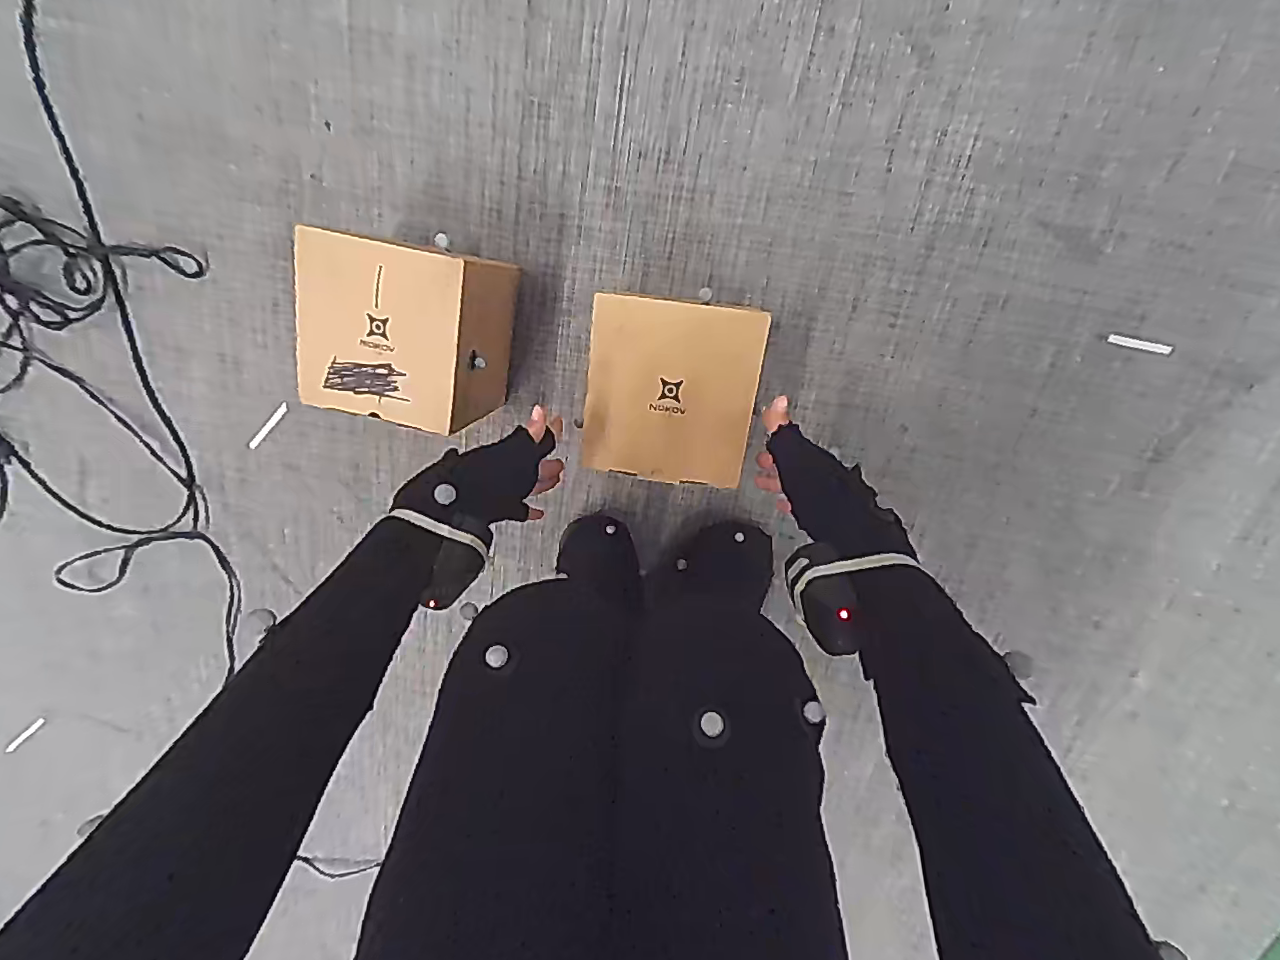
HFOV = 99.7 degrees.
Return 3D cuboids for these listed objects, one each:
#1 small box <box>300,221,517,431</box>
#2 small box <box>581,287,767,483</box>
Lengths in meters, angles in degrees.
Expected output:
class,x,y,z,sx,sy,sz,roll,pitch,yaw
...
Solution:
class,x,y,z,sx,sy,sz,roll,pitch,yaw
small box,-0.250,-0.174,0.613,0.168,0.176,0.179,13,110,1
small box,0.035,-0.116,0.606,0.168,0.176,0.179,8,111,3
